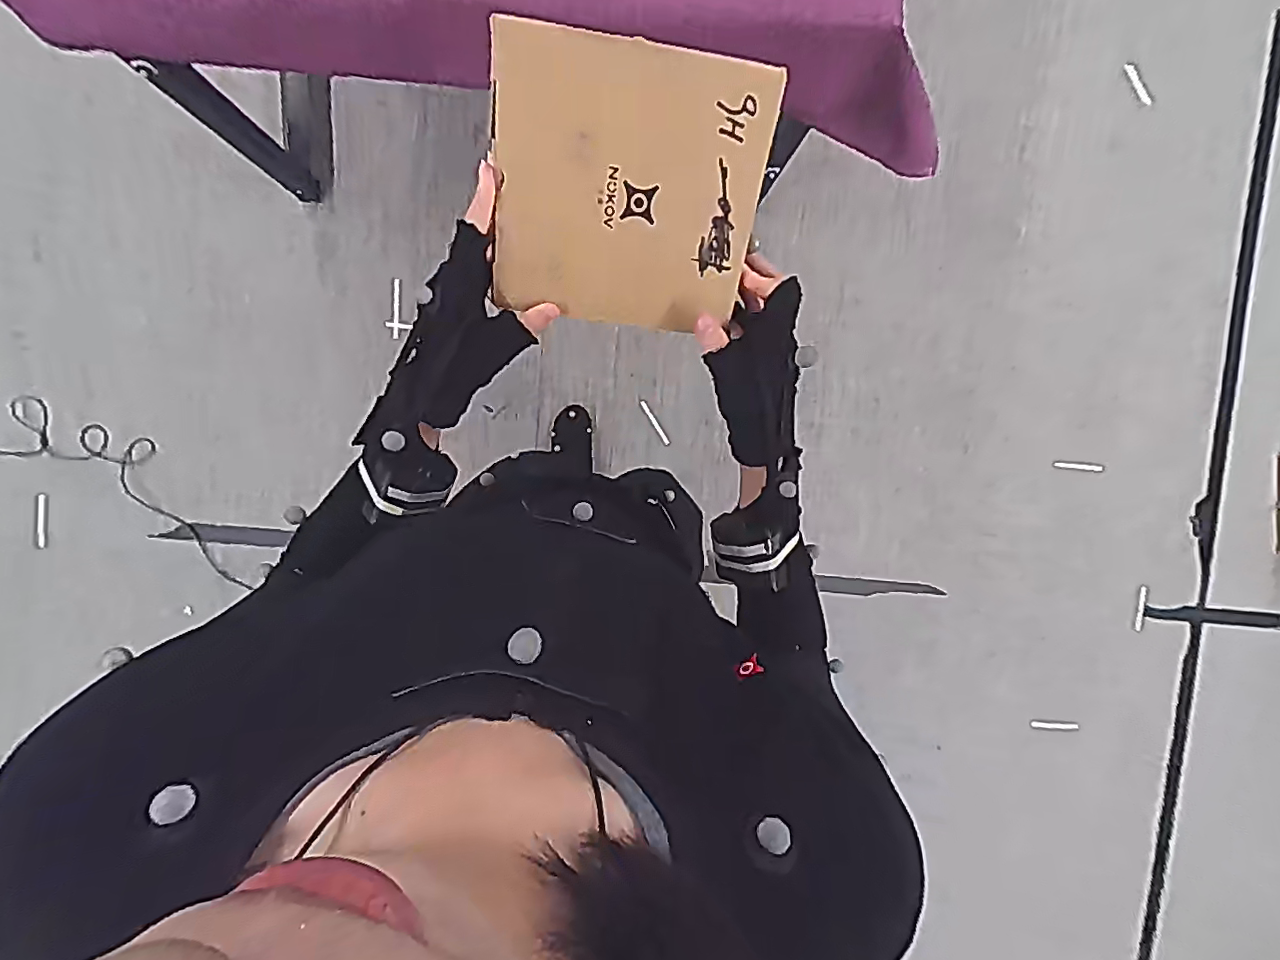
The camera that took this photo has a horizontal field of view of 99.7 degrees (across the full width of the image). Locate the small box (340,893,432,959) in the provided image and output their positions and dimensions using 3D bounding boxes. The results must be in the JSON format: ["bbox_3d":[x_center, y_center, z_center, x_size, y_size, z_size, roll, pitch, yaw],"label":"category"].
[{"bbox_3d":[-0.662,1.234,1.425,0.179,0.176,0.168,0,94,-6],"label":"small box"}]

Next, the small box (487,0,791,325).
[{"bbox_3d":[-0.010,-0.234,0.418,0.179,0.176,0.168,7,121,-6],"label":"small box"}]
